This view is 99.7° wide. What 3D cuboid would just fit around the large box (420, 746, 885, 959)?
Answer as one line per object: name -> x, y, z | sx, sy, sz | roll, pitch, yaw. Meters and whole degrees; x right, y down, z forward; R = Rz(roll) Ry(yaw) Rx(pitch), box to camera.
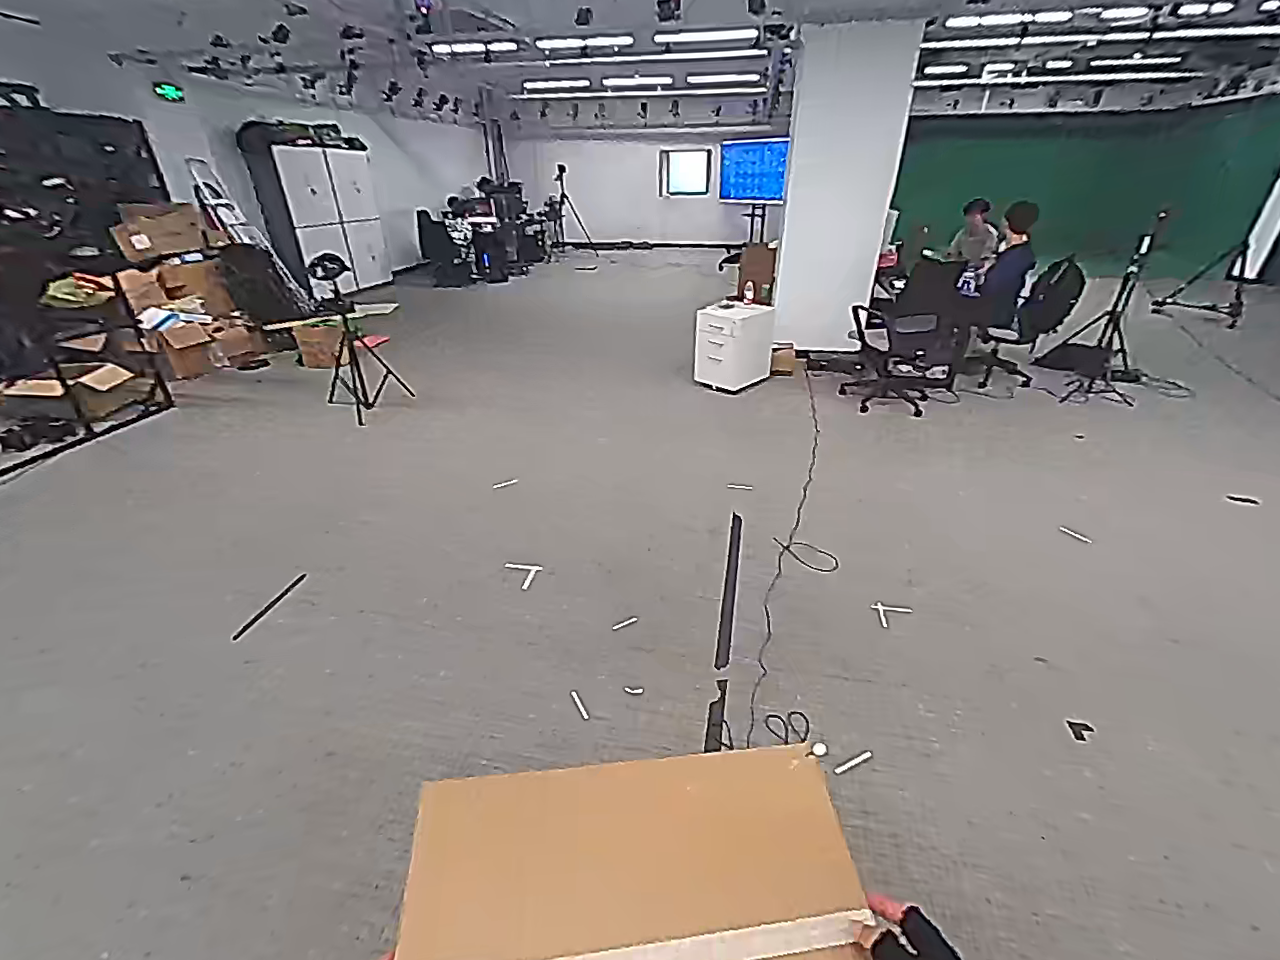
large box -> 0.002, 0.513, 0.561 | 0.408, 0.320, 0.320 | -1, 43, -7
